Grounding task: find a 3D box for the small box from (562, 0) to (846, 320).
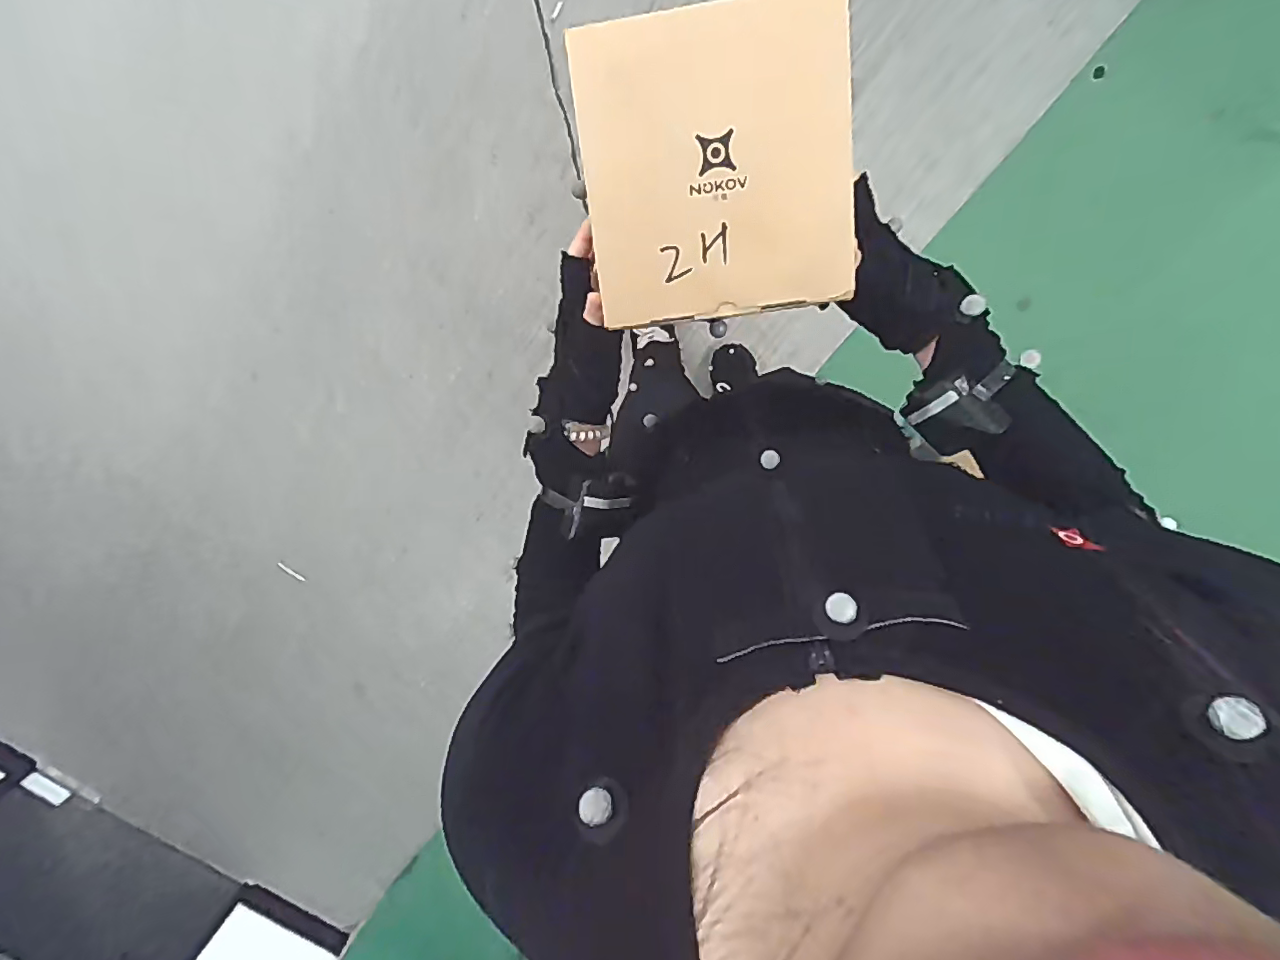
[{"bbox_3d":[0.048,-0.219,0.406,0.168,0.176,0.179,-5,106,7],"label":"small box"}]
